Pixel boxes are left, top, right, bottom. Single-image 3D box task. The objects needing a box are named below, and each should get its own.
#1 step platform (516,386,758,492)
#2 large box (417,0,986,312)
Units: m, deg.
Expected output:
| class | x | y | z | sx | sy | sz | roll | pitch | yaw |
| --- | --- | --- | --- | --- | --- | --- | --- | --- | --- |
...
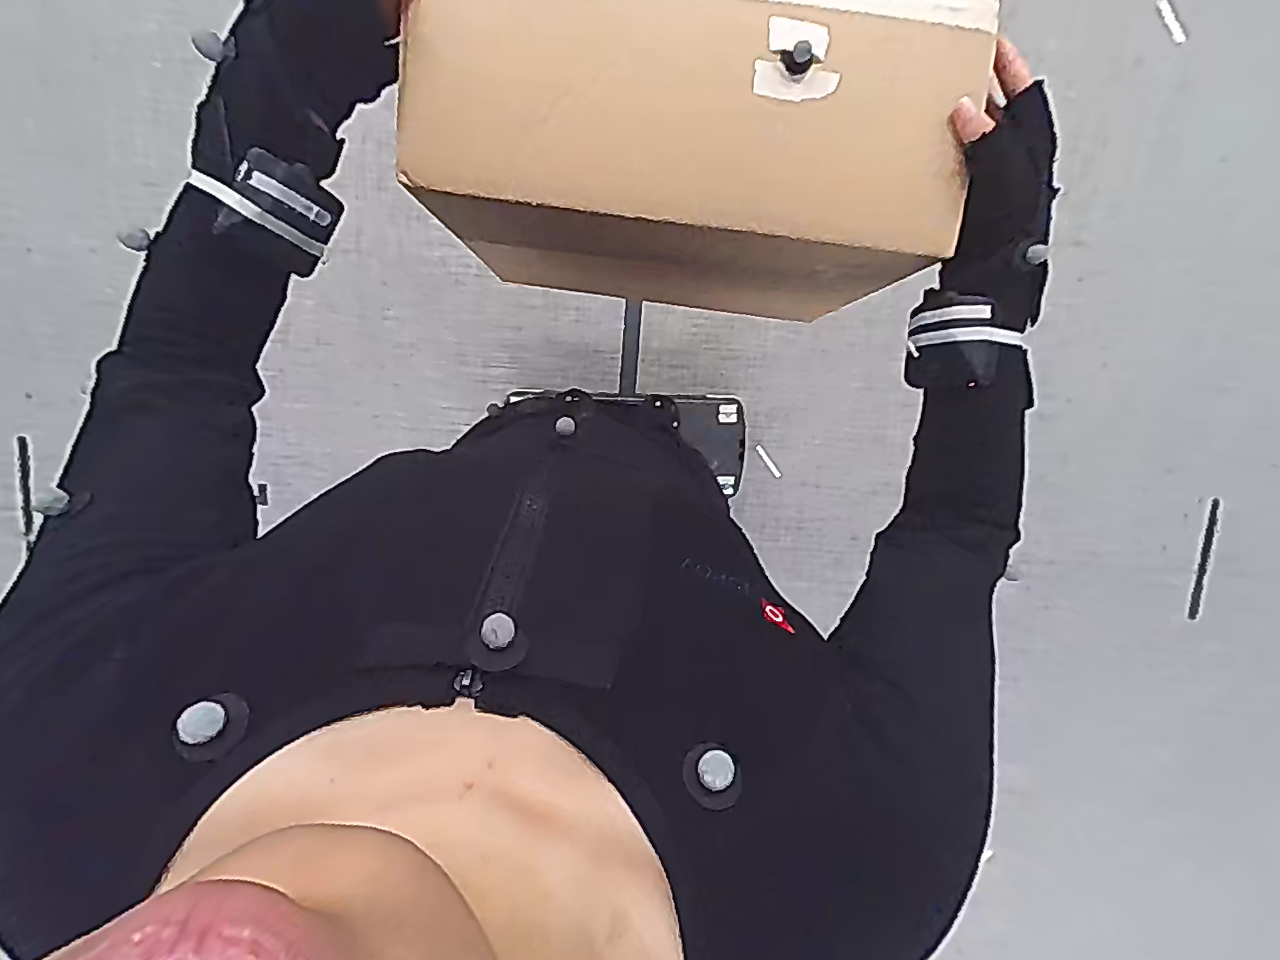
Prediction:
| class | x | y | z | sx | sy | sz | roll | pitch | yaw |
| --- | --- | --- | --- | --- | --- | --- | --- | --- | --- |
| step platform | -0.007 | -0.121 | 1.559 | 0.684 | 0.204 | 0.286 | 1 | 99 | -1 |
| large box | 0.043 | -0.367 | 0.528 | 0.408 | 0.320 | 0.320 | 7 | 98 | -3 |
